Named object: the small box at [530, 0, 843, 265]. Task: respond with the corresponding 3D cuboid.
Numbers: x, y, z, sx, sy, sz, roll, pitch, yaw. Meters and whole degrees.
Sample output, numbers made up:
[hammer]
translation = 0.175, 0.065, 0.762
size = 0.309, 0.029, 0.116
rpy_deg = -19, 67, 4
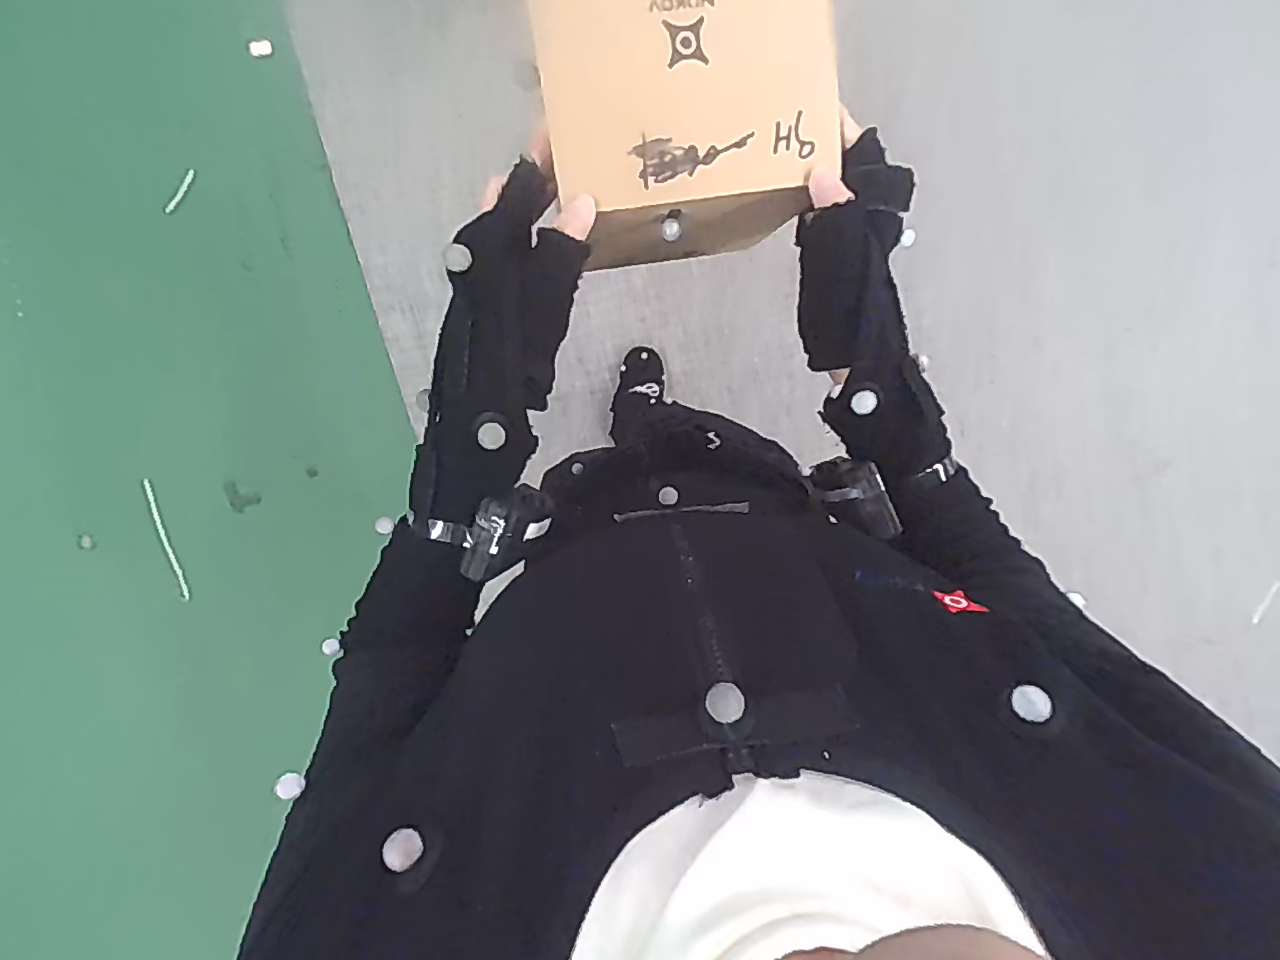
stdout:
[small box]
translation = 0.018, -0.263, 0.370
size = 0.168, 0.176, 0.179
rpy_deg = -10, 102, -4
